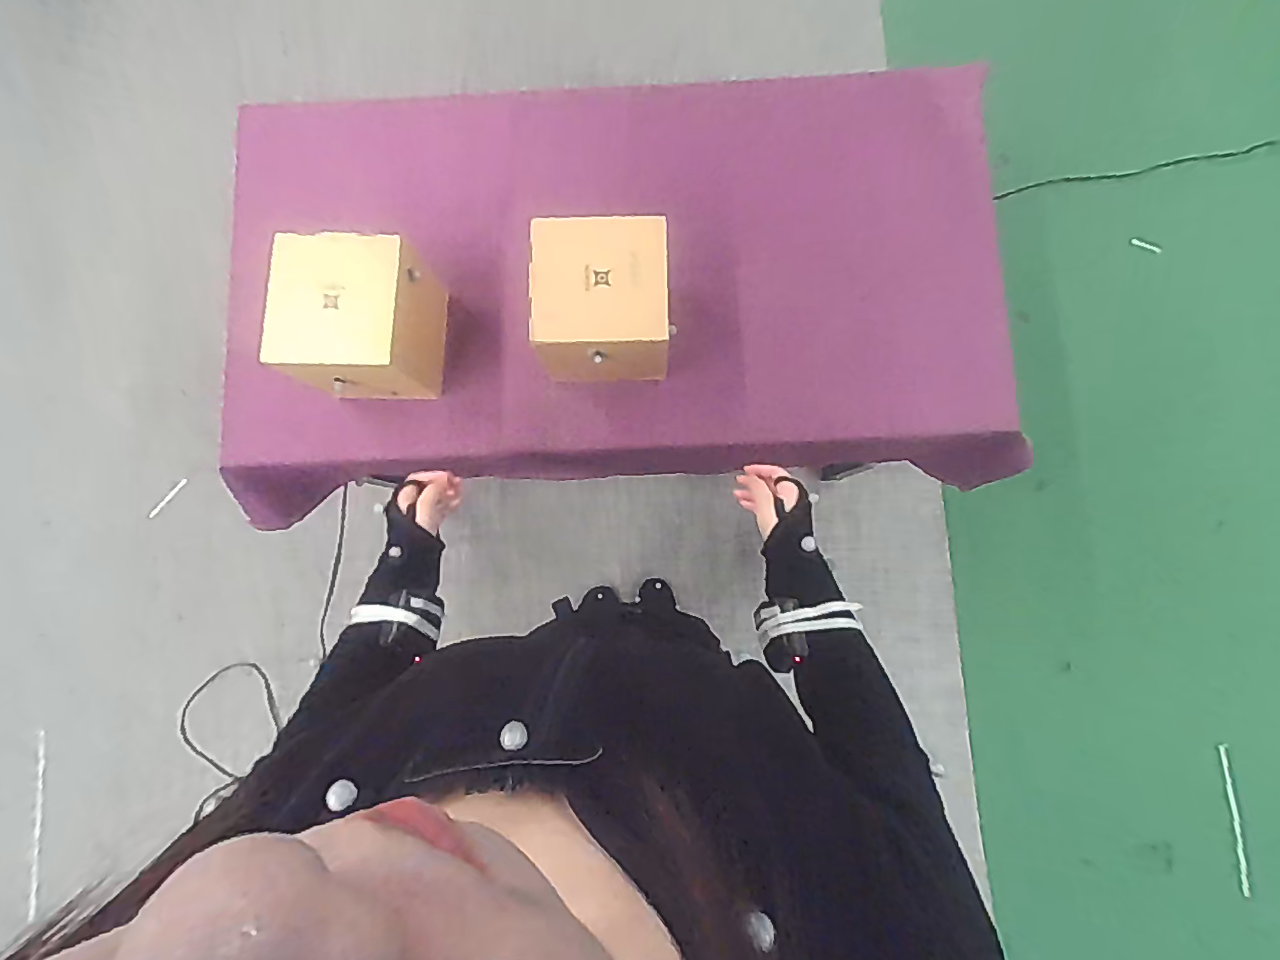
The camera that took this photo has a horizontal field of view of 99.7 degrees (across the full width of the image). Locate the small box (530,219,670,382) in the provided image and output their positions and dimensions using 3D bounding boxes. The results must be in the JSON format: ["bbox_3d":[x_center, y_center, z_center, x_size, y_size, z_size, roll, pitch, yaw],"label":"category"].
[{"bbox_3d":[-0.047,-0.239,0.758,0.179,0.176,0.168,0,83,1],"label":"small box"}]

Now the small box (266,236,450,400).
[{"bbox_3d":[-0.382,-0.217,0.764,0.168,0.176,0.179,1,81,2],"label":"small box"}]
